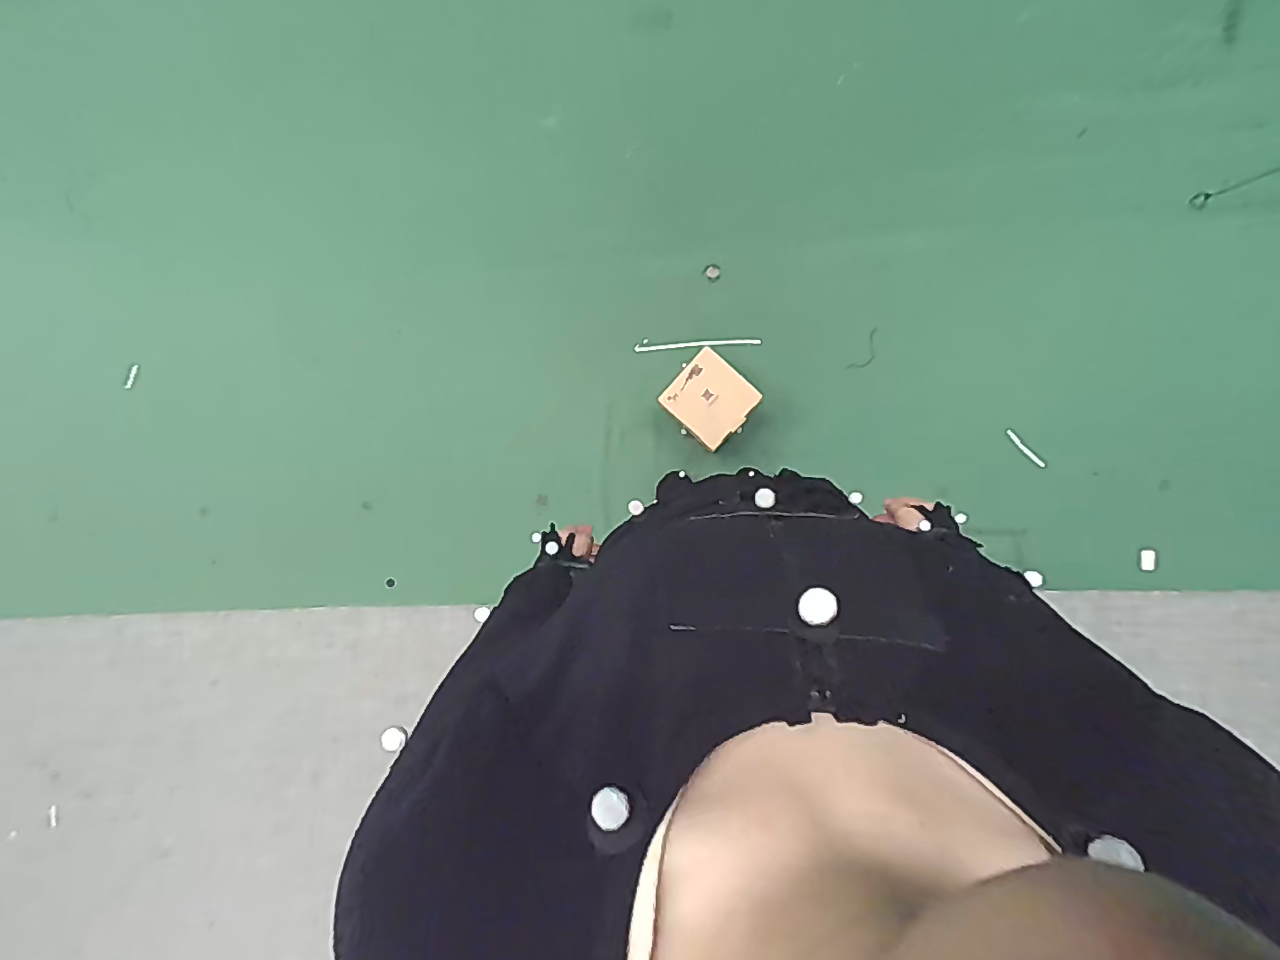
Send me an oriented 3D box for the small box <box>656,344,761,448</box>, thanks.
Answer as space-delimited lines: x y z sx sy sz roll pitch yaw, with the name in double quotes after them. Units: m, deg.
0.159 -0.192 1.278 0.179 0.176 0.168 43 96 3 "small box"
